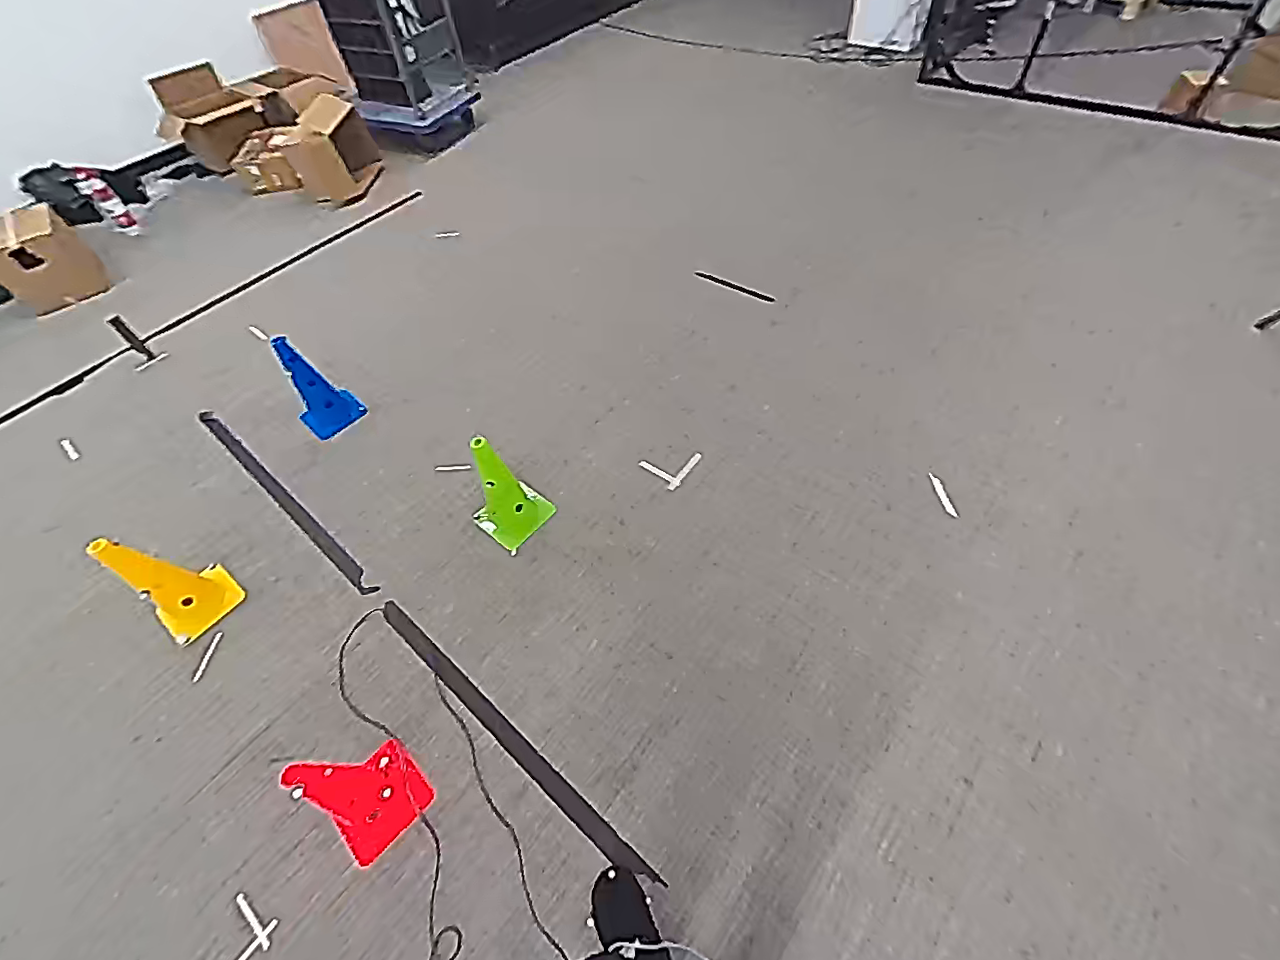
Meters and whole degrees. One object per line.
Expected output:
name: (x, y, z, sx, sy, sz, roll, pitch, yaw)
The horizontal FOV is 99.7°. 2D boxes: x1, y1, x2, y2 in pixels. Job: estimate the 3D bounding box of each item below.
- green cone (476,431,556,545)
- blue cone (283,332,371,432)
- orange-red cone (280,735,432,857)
green cone: (-0.408, -0.005, 1.587, 0.200, 0.368, 0.202, 33, 62, 26)
blue cone: (-1.170, -0.367, 1.952, 0.193, 0.380, 0.192, 37, 64, 27)
orange-red cone: (-0.632, 0.637, 1.140, 0.199, 0.360, 0.198, -41, 58, -21)
